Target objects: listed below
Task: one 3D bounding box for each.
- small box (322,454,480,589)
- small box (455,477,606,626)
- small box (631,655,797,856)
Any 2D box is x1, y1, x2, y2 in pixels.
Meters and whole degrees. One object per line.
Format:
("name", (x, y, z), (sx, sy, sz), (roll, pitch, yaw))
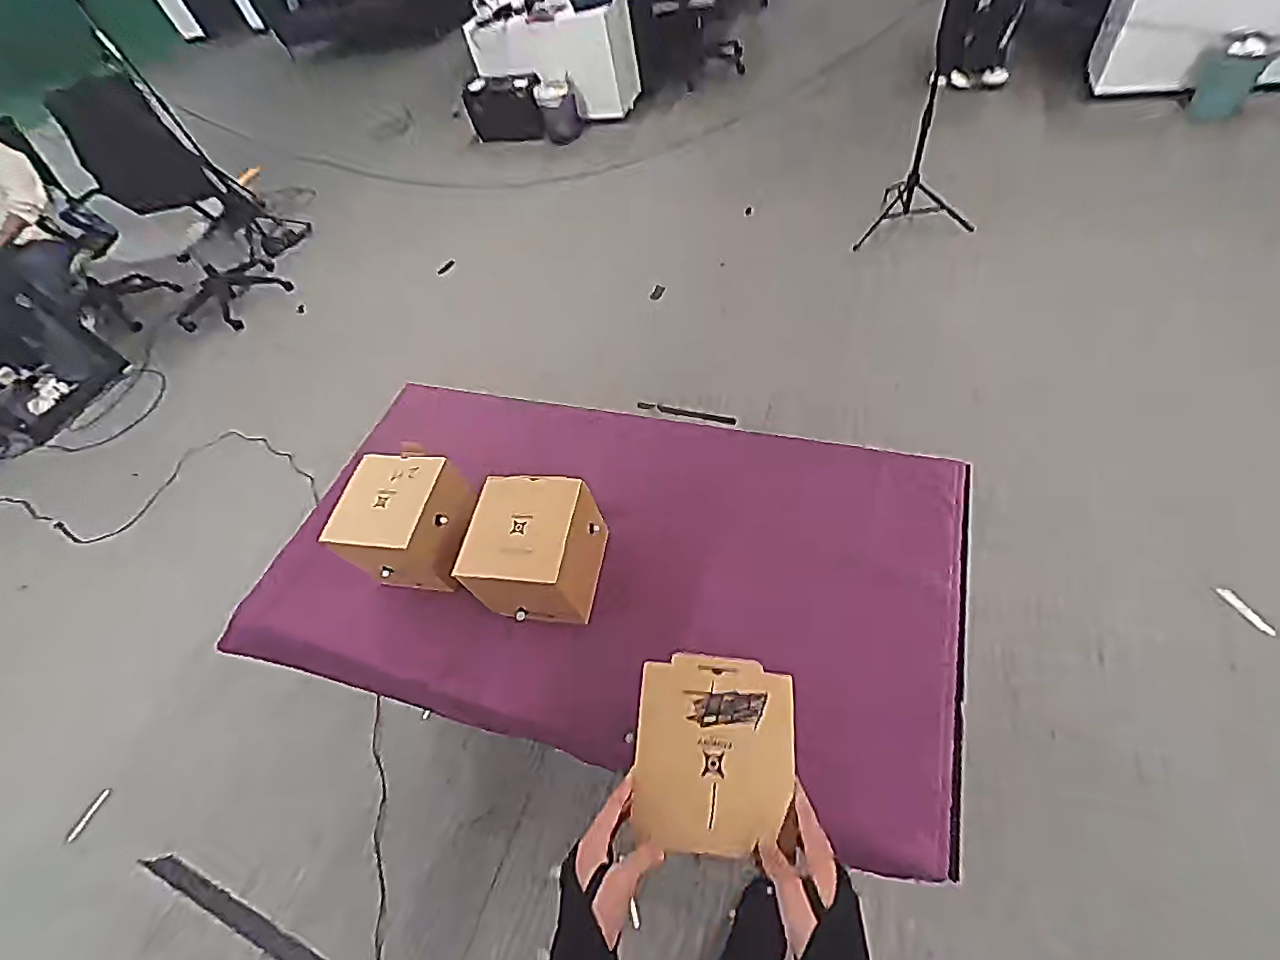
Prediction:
("small box", (-0.399, 0.076, 0.948), (0.168, 0.176, 0.179), (4, 56, 14))
("small box", (-0.161, 0.115, 0.870), (0.168, 0.176, 0.179), (2, 56, 15))
("small box", (0.080, 0.324, 0.638), (0.168, 0.176, 0.179), (5, 58, 3))
